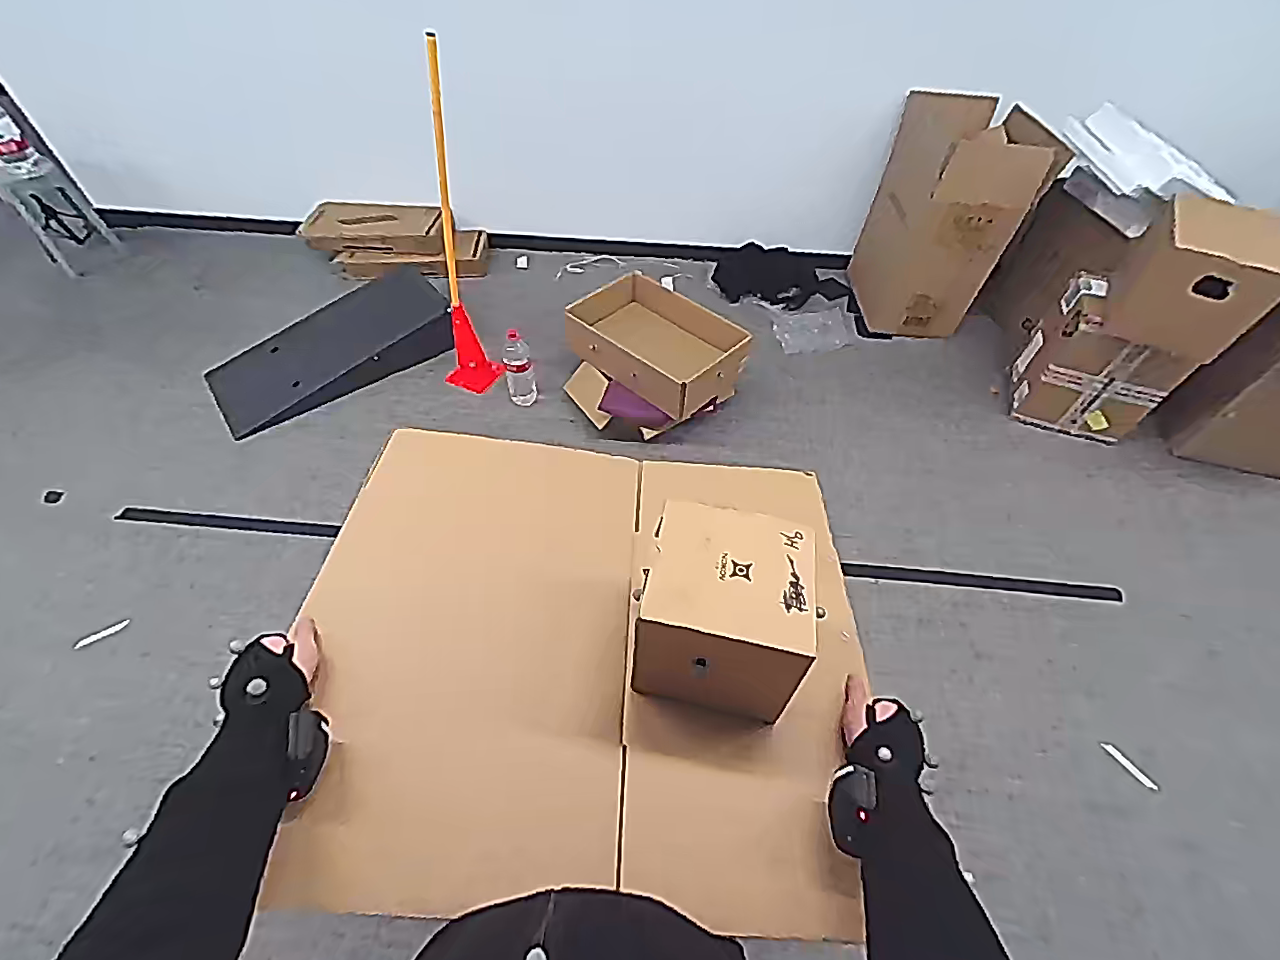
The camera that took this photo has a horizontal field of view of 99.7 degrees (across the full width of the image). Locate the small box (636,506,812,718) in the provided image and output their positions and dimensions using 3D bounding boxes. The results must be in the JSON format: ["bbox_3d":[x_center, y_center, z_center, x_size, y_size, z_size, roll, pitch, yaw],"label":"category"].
[{"bbox_3d":[0.095,0.158,0.637,0.179,0.176,0.168,10,46,7],"label":"small box"}]
